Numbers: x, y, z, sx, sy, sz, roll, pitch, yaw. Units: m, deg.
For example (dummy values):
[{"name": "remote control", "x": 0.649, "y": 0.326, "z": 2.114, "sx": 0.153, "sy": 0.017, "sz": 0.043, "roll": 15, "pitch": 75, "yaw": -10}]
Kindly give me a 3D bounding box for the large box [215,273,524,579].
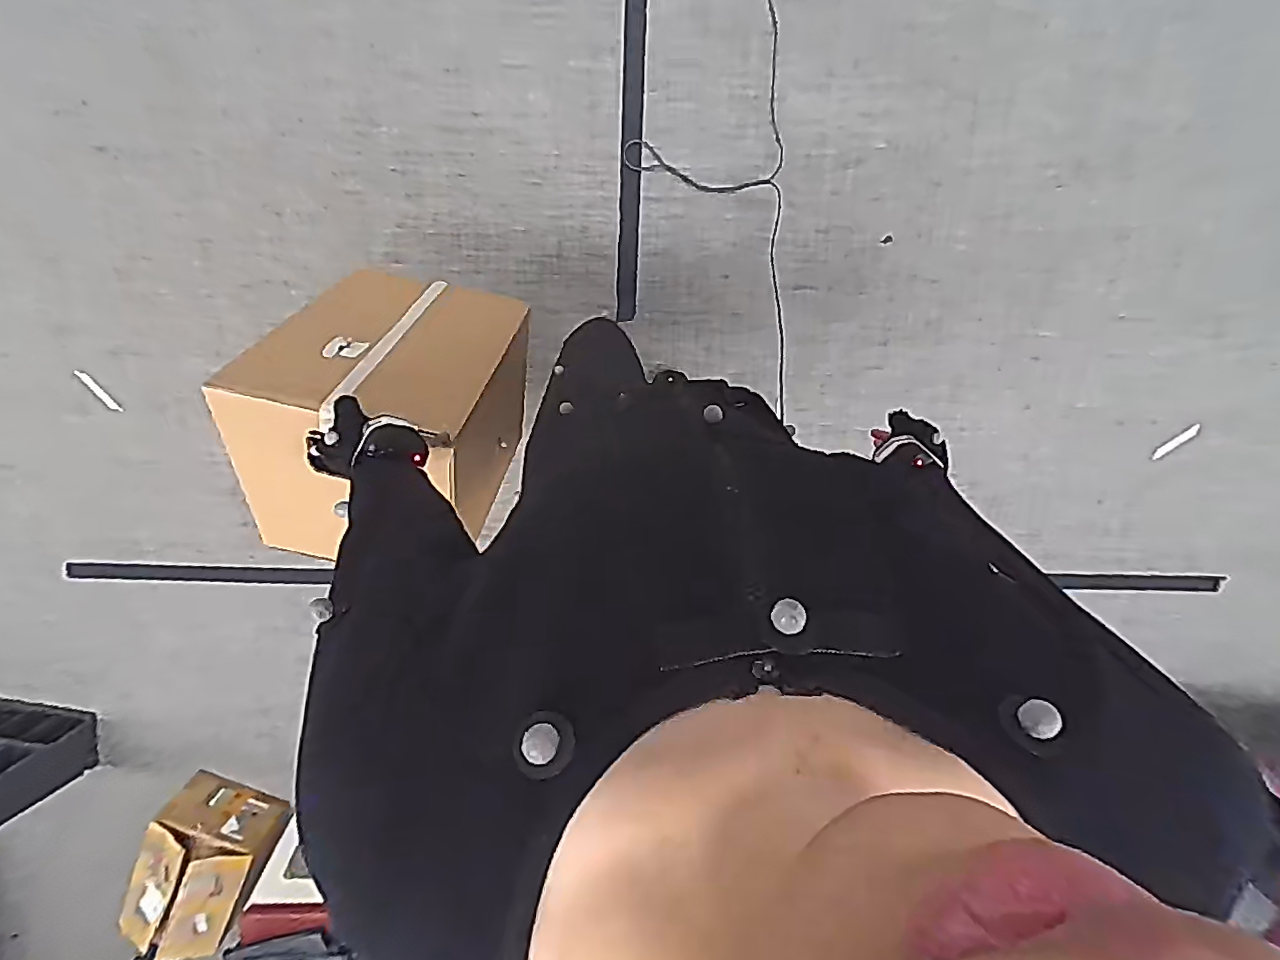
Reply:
[{"name": "large box", "x": -0.404, "y": -0.101, "z": 0.935, "sx": 0.320, "sy": 0.408, "sz": 0.320, "roll": 11, "pitch": 133, "yaw": -3}]
